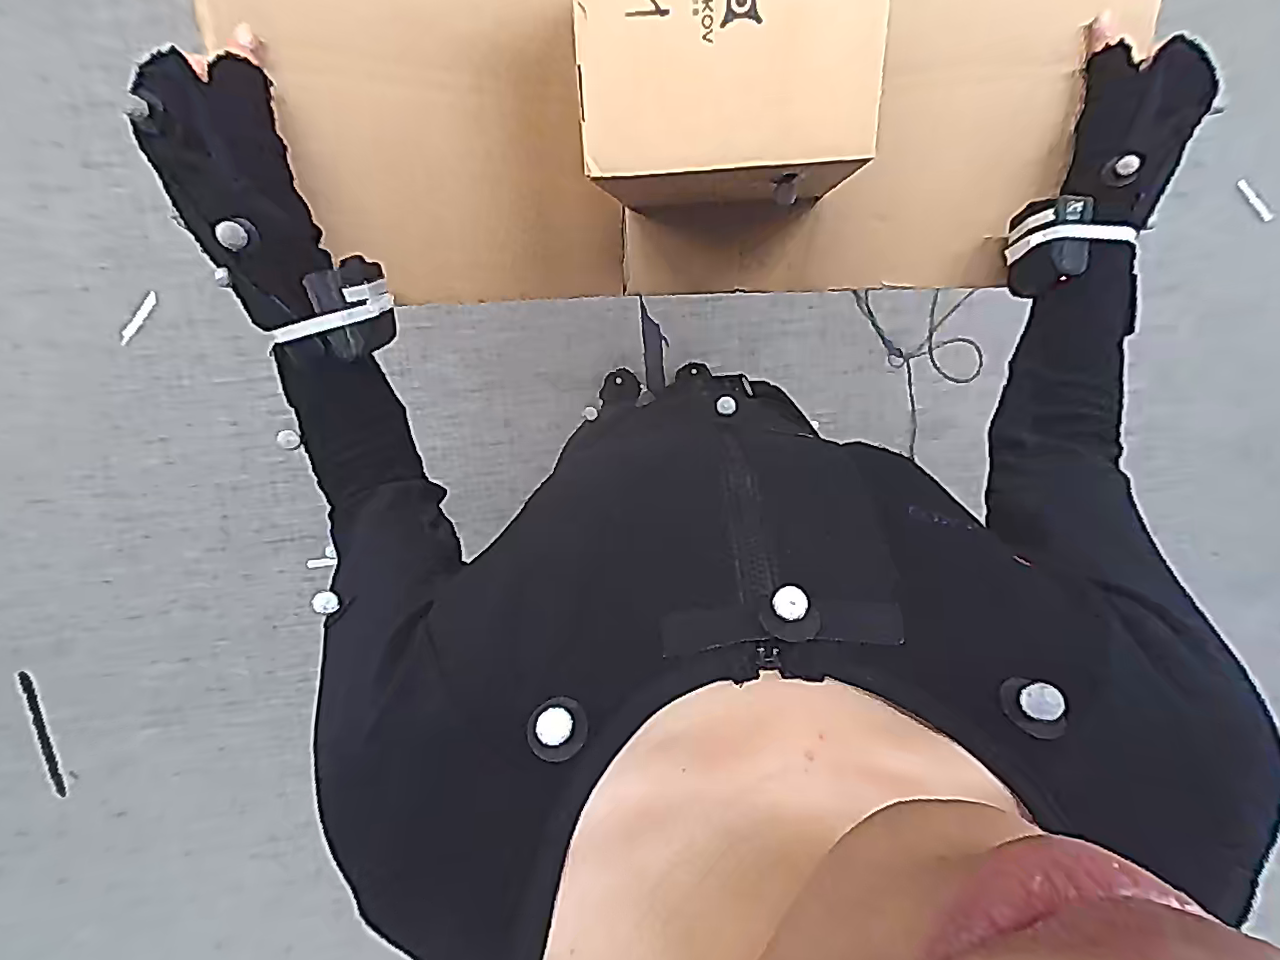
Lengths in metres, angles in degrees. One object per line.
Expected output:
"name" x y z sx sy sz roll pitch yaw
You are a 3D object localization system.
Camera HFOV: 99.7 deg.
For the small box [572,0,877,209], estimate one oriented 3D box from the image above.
"small box" 0.057 -0.296 0.385 0.179 0.176 0.168 1 110 9
